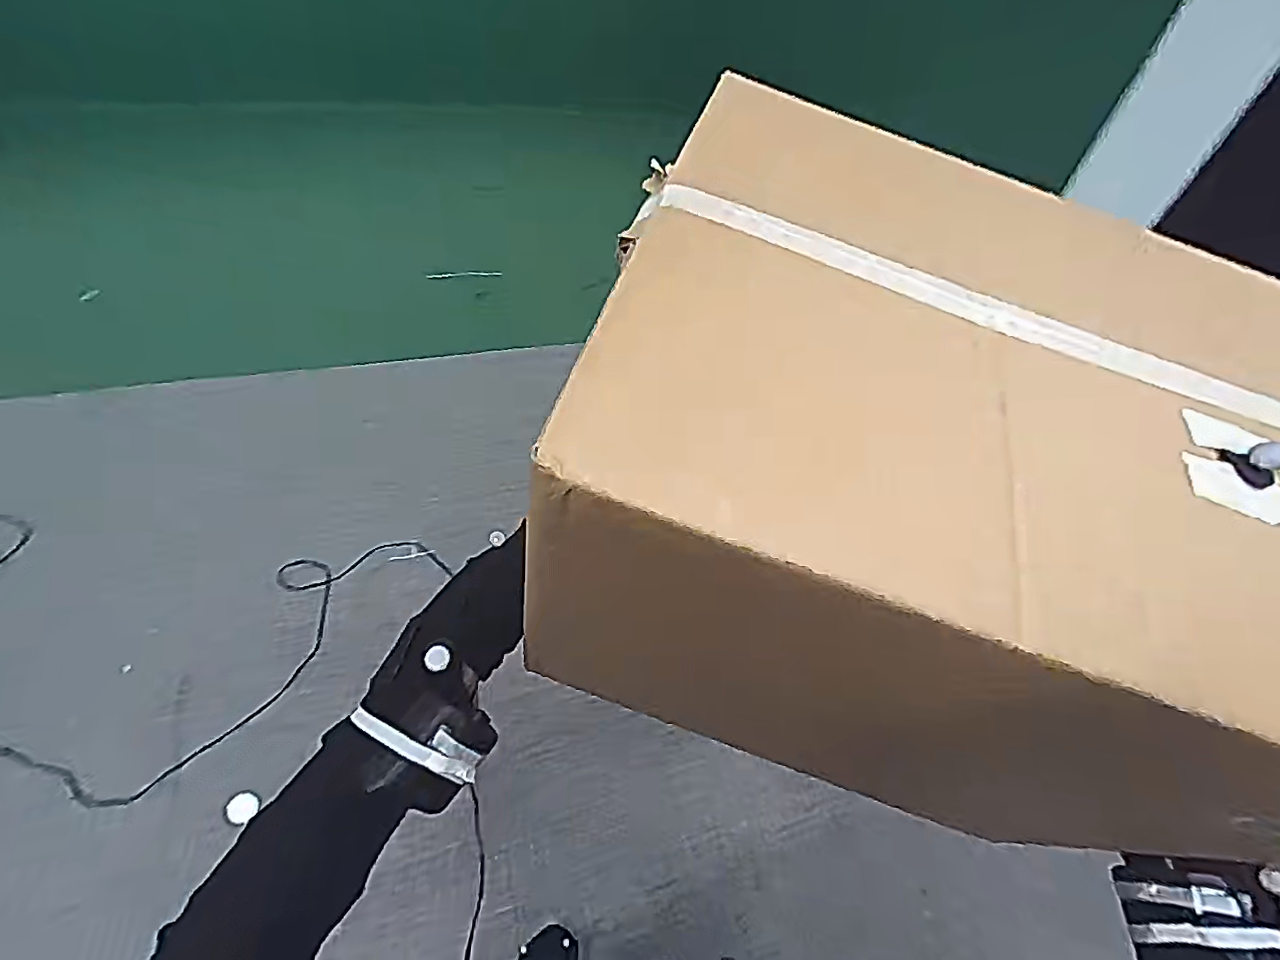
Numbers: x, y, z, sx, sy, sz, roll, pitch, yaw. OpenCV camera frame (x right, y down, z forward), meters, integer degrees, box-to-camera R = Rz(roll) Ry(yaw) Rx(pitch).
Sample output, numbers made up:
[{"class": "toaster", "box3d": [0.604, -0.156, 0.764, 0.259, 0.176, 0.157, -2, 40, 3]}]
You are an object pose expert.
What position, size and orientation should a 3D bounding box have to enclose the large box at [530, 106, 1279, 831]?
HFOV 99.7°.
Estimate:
[{"class": "large box", "box3d": [0.166, 0.020, 0.393, 0.408, 0.320, 0.320, 20, 58, -1]}]
